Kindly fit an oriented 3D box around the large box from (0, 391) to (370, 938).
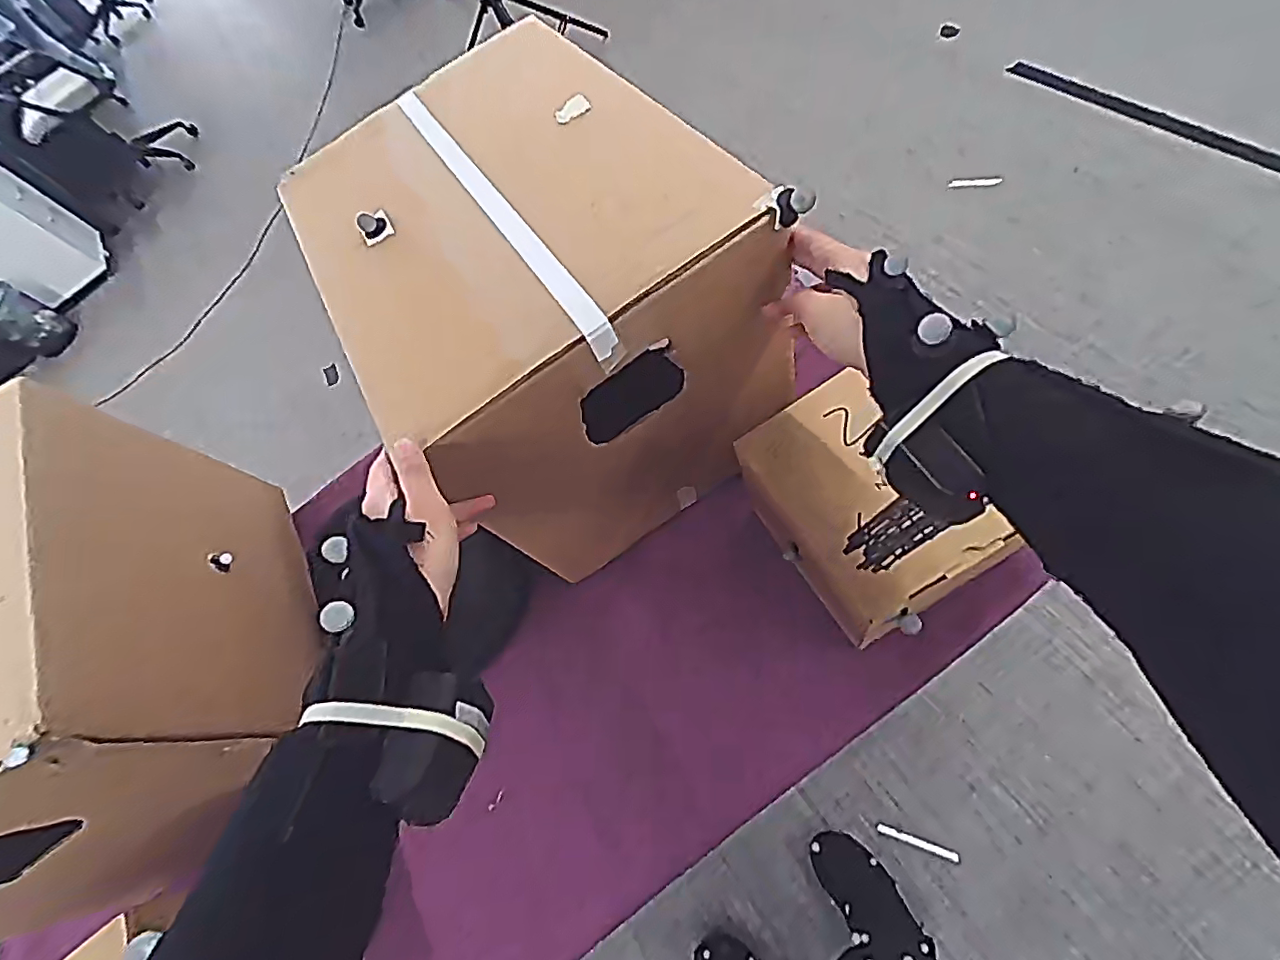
[{"bbox_3d":[-0.580,0.189,0.586,0.320,0.320,0.408,-39,64,-1],"label":"large box"}]
